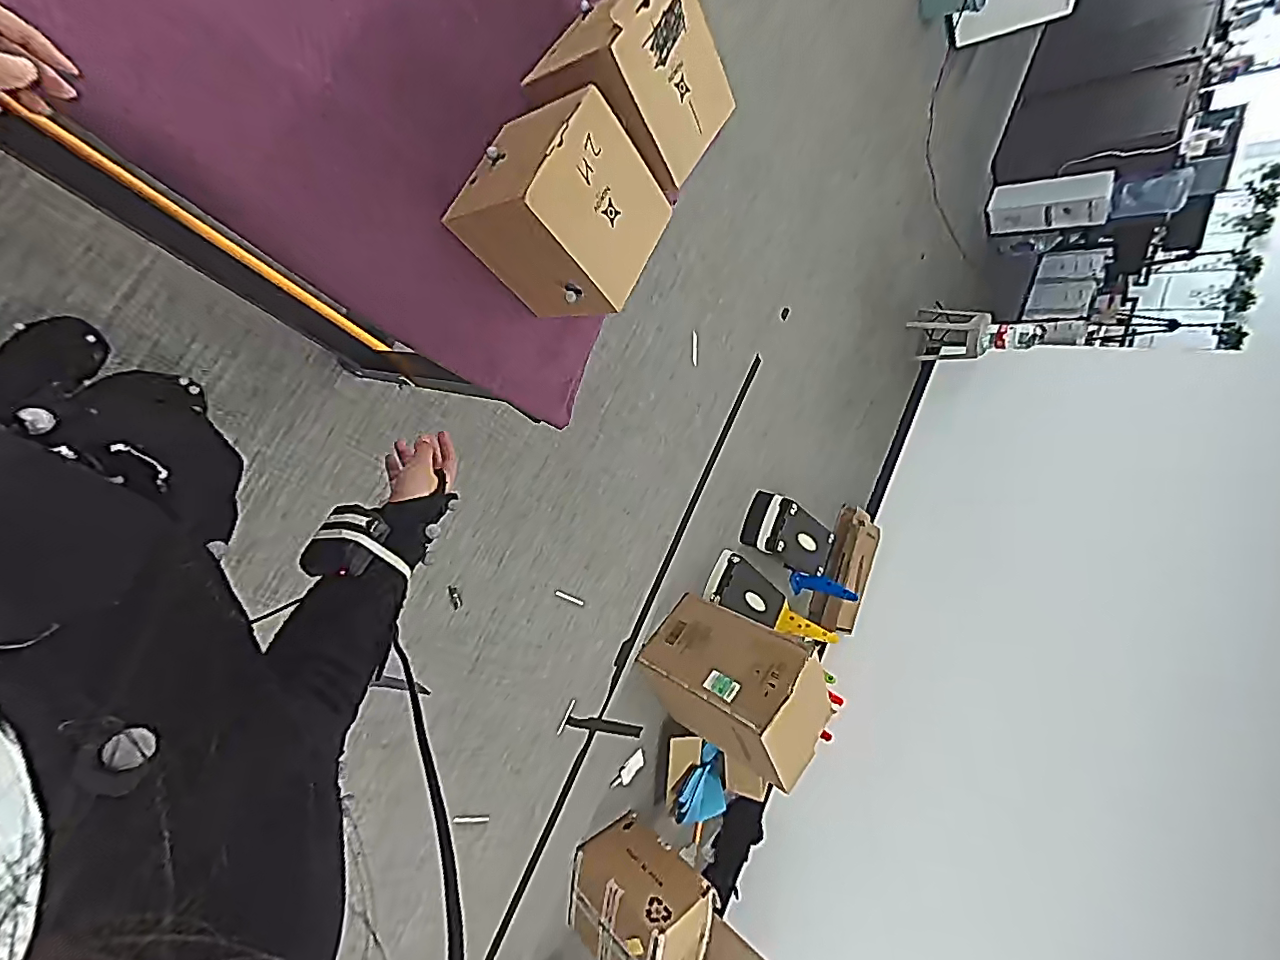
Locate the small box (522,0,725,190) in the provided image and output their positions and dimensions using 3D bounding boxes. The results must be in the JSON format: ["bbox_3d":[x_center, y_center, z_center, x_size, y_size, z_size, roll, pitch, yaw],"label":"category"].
[{"bbox_3d":[-0.021,-0.501,0.716,0.168,0.176,0.179,-59,138,-15],"label":"small box"}]

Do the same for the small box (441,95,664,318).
[{"bbox_3d":[-0.107,-0.324,0.676,0.179,0.176,0.168,40,70,-45],"label":"small box"}]
